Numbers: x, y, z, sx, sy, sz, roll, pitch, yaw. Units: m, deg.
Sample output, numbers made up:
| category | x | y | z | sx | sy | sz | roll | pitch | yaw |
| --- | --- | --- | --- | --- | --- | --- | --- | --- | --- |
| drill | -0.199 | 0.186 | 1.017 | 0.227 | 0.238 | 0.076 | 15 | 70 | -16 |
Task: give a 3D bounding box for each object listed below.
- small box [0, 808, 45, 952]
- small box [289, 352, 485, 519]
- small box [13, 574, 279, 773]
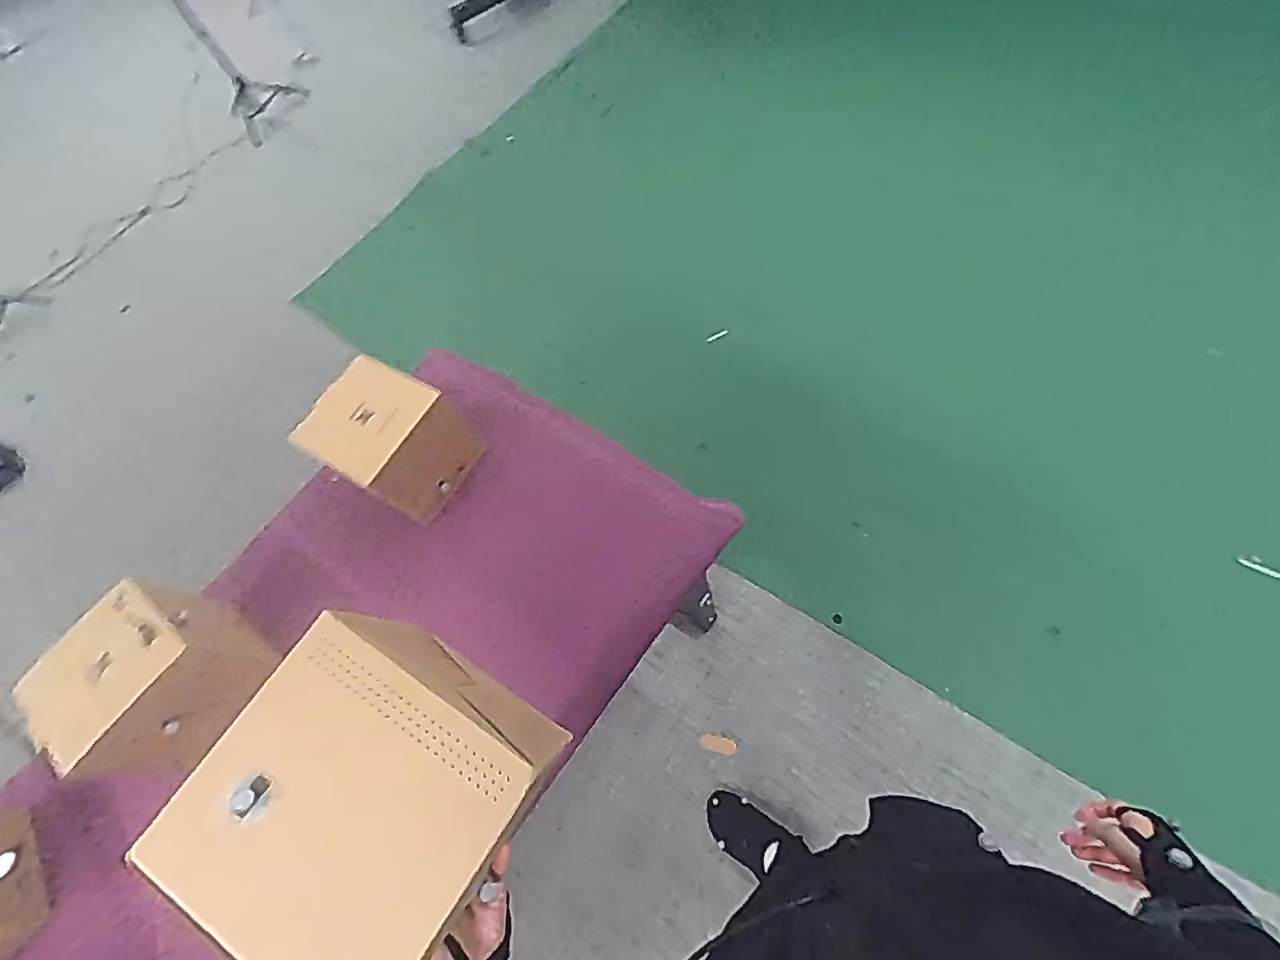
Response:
| category | x | y | z | sx | sy | sz | roll | pitch | yaw |
| --- | --- | --- | --- | --- | --- | --- | --- | --- | --- |
| small box | -0.890 | 0.527 | 0.642 | 0.179 | 0.176 | 0.168 | -41 | 65 | -12 |
| small box | -0.380 | -0.061 | 0.839 | 0.179 | 0.176 | 0.168 | 26 | 73 | 20 |
| small box | -0.648 | 0.261 | 0.731 | 0.168 | 0.176 | 0.179 | 31 | 74 | 21 |
